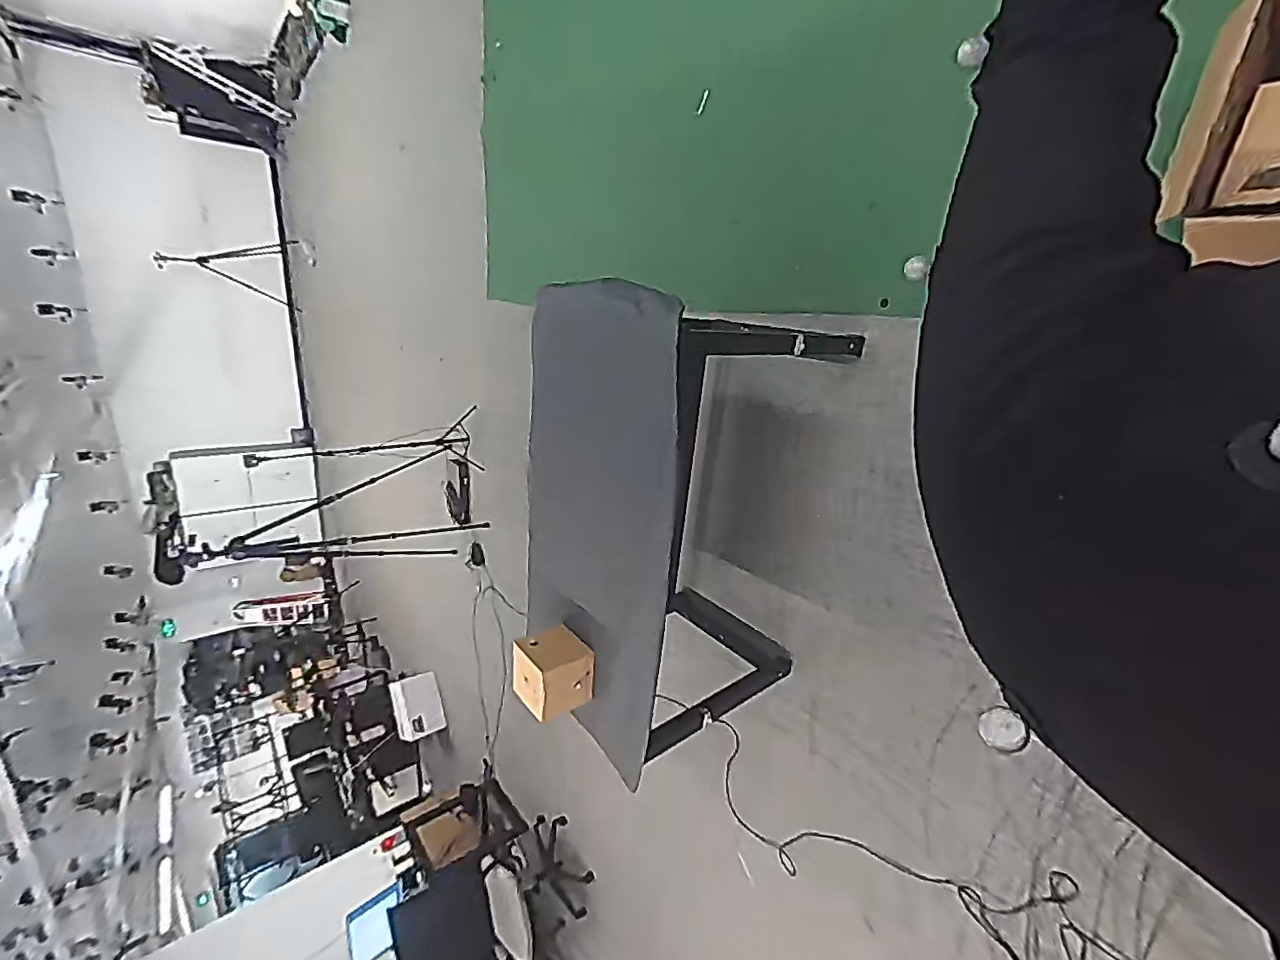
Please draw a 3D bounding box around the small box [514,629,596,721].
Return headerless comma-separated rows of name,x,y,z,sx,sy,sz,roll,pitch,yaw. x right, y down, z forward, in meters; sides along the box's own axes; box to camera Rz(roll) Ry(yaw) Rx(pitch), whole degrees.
small box,-0.245,0.548,1.554,0.179,0.176,0.168,23,115,47
